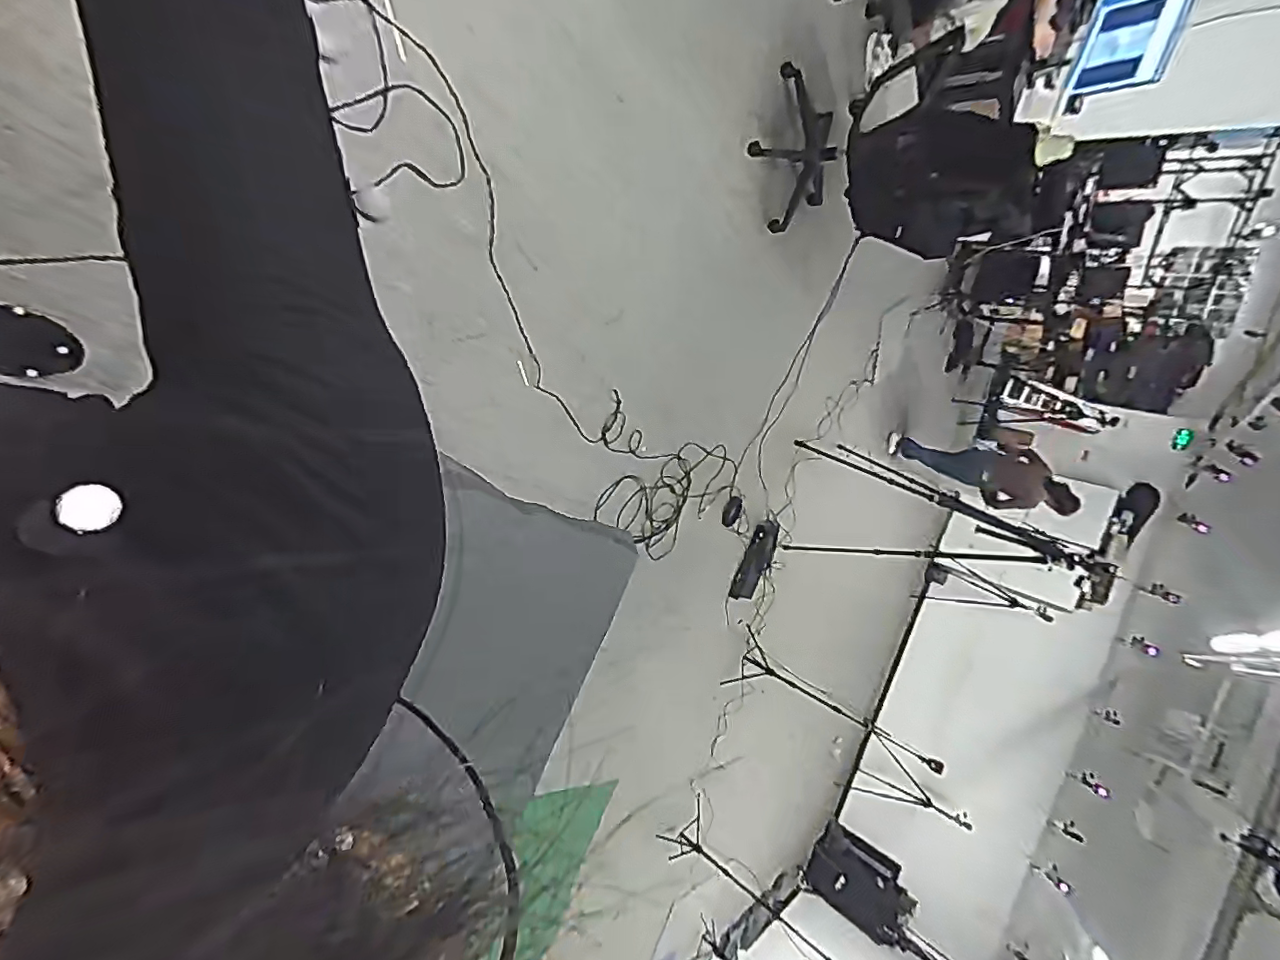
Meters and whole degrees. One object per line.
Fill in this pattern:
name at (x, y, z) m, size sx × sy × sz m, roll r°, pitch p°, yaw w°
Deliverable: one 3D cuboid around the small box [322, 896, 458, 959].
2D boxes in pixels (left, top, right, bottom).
small box at (-0.333, 0.697, 0.699) m, size 0.179 × 0.176 × 0.168 m, roll -46°, pitch 139°, yaw -27°
